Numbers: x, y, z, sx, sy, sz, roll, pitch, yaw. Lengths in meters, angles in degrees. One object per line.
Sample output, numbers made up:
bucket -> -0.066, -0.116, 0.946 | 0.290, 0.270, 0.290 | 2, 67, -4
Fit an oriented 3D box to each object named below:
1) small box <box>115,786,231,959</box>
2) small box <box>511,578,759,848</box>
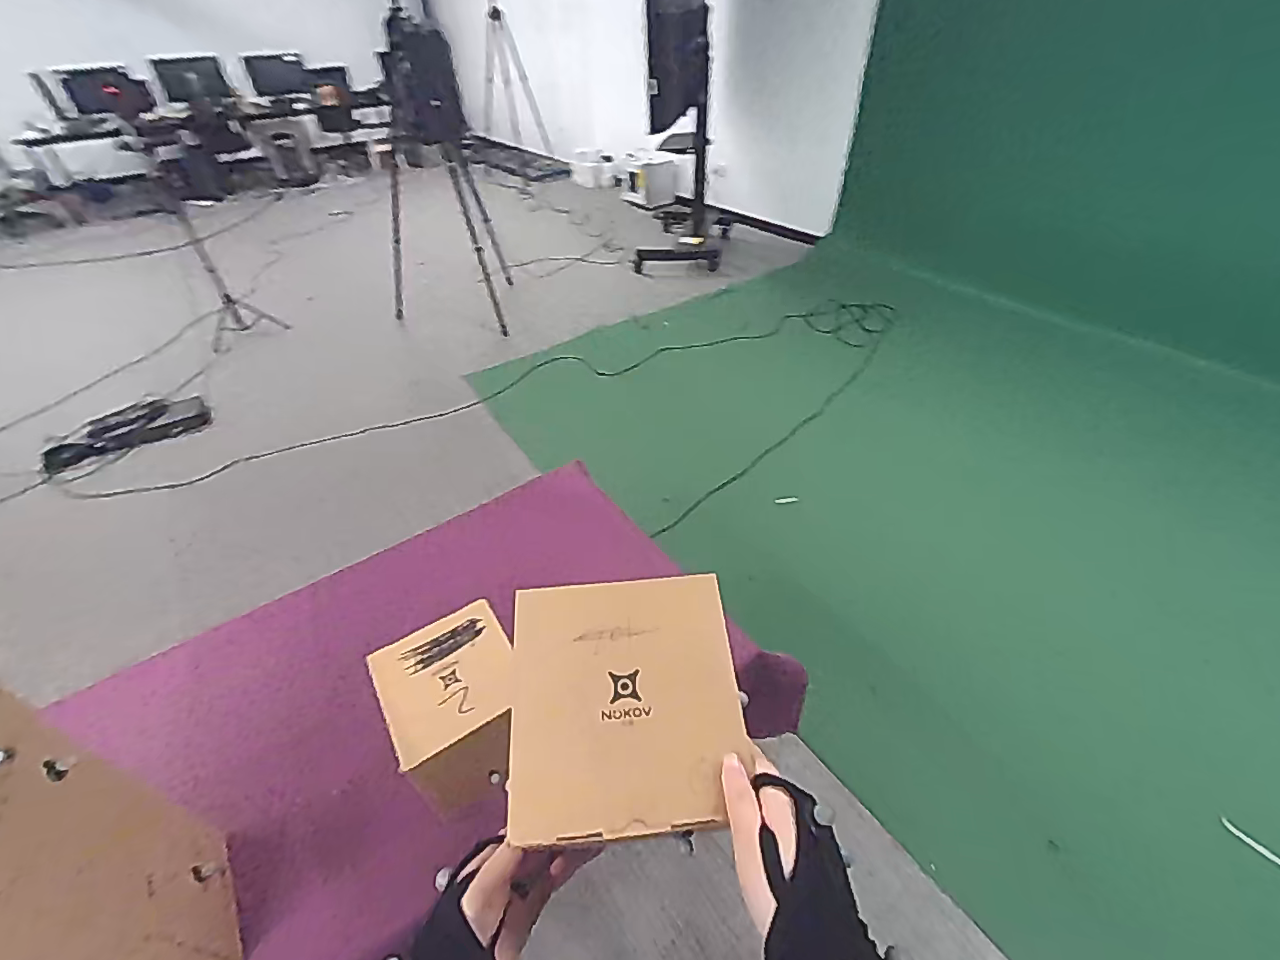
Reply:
small box -> -0.565, 0.473, 0.565 | 0.179, 0.176, 0.168 | -28, 47, -27
small box -> -0.008, 0.201, 0.461 | 0.168, 0.176, 0.179 | -3, 55, -4
